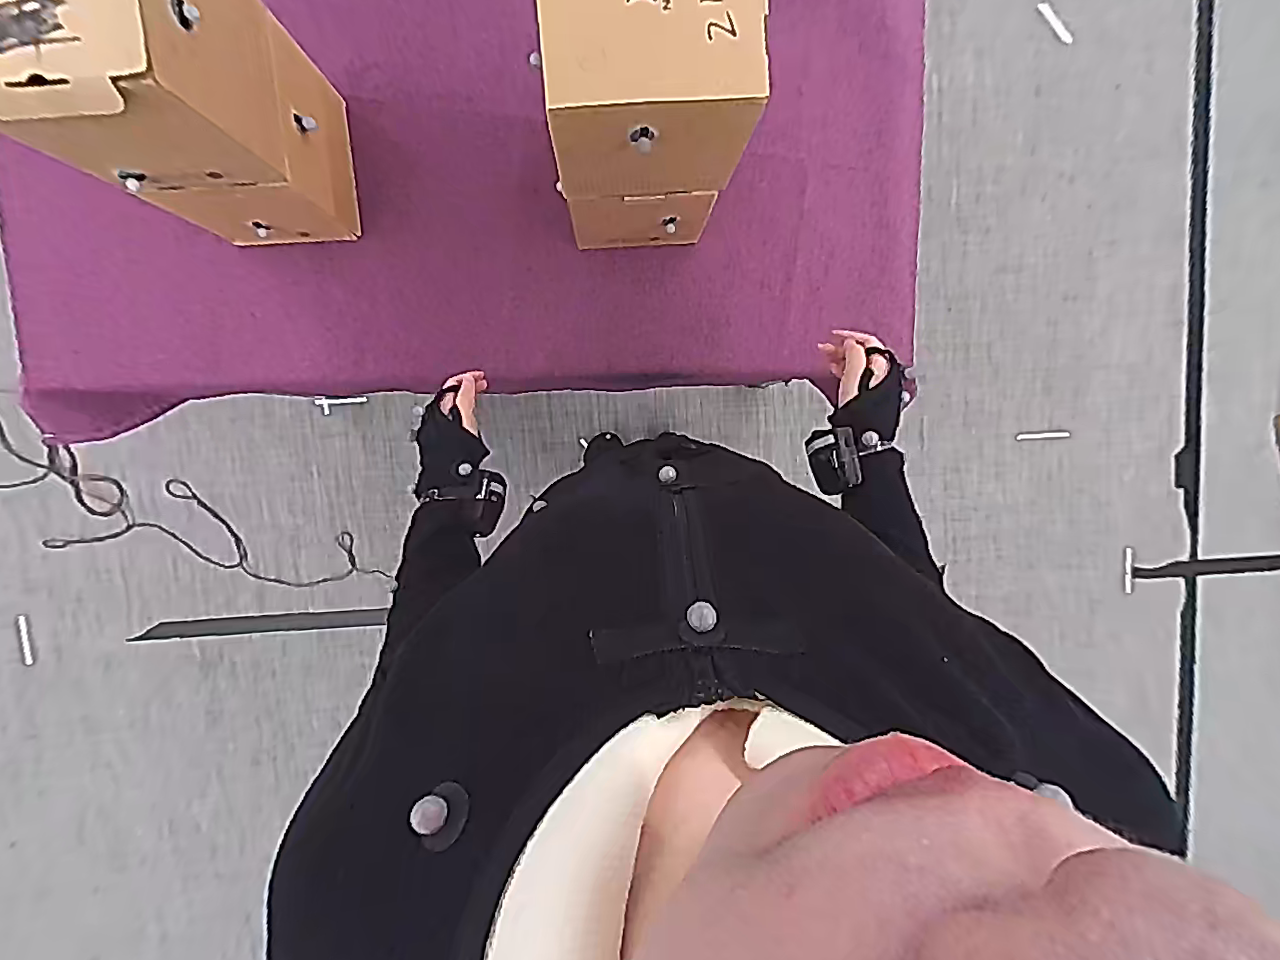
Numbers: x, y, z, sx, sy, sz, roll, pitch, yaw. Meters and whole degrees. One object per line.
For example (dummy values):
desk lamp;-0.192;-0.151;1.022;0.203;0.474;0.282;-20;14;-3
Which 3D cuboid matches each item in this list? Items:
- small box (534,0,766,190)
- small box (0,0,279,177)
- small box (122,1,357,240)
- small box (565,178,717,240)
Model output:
small box;0.003;-0.378;0.483;0.179;0.176;0.168;-4;97;-3
small box;-0.446;-0.381;0.462;0.168;0.176;0.179;-6;96;-3
small box;-0.454;-0.398;0.625;0.168;0.176;0.179;-4;97;-3
small box;-0.005;-0.399;0.646;0.168;0.176;0.179;-3;96;-3
